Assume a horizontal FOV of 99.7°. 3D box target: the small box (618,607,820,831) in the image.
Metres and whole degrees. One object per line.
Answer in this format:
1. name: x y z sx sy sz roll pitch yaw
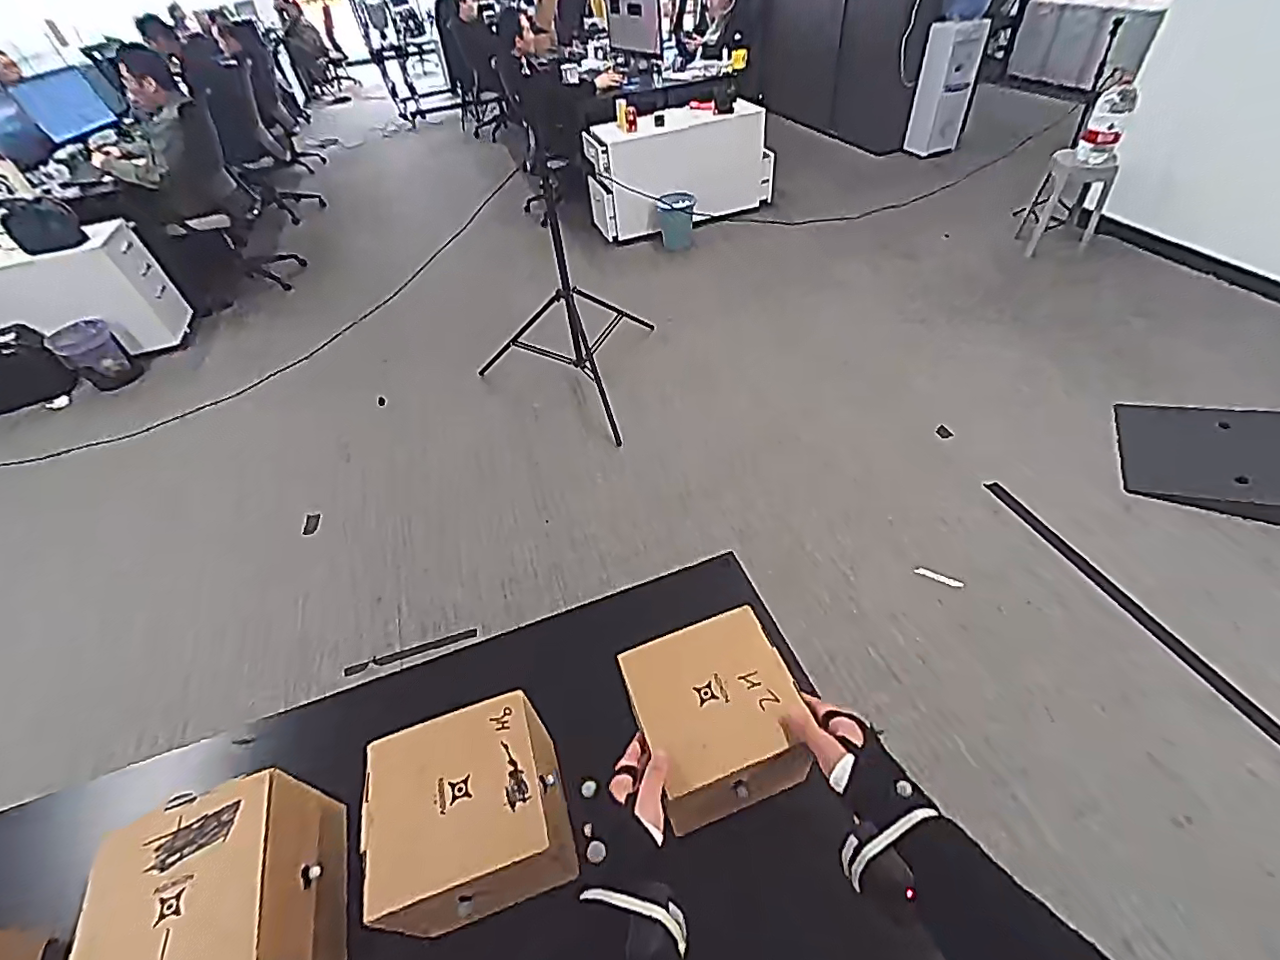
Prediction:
1. small box: 0.089 0.288 0.648 0.179 0.176 0.168 -18 47 -9

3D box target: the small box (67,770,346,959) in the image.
1. small box: -0.429 0.444 0.563 0.168 0.176 0.179 -19 48 -11

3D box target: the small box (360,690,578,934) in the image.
1. small box: -0.183 0.372 0.604 0.179 0.176 0.168 -17 47 -8
